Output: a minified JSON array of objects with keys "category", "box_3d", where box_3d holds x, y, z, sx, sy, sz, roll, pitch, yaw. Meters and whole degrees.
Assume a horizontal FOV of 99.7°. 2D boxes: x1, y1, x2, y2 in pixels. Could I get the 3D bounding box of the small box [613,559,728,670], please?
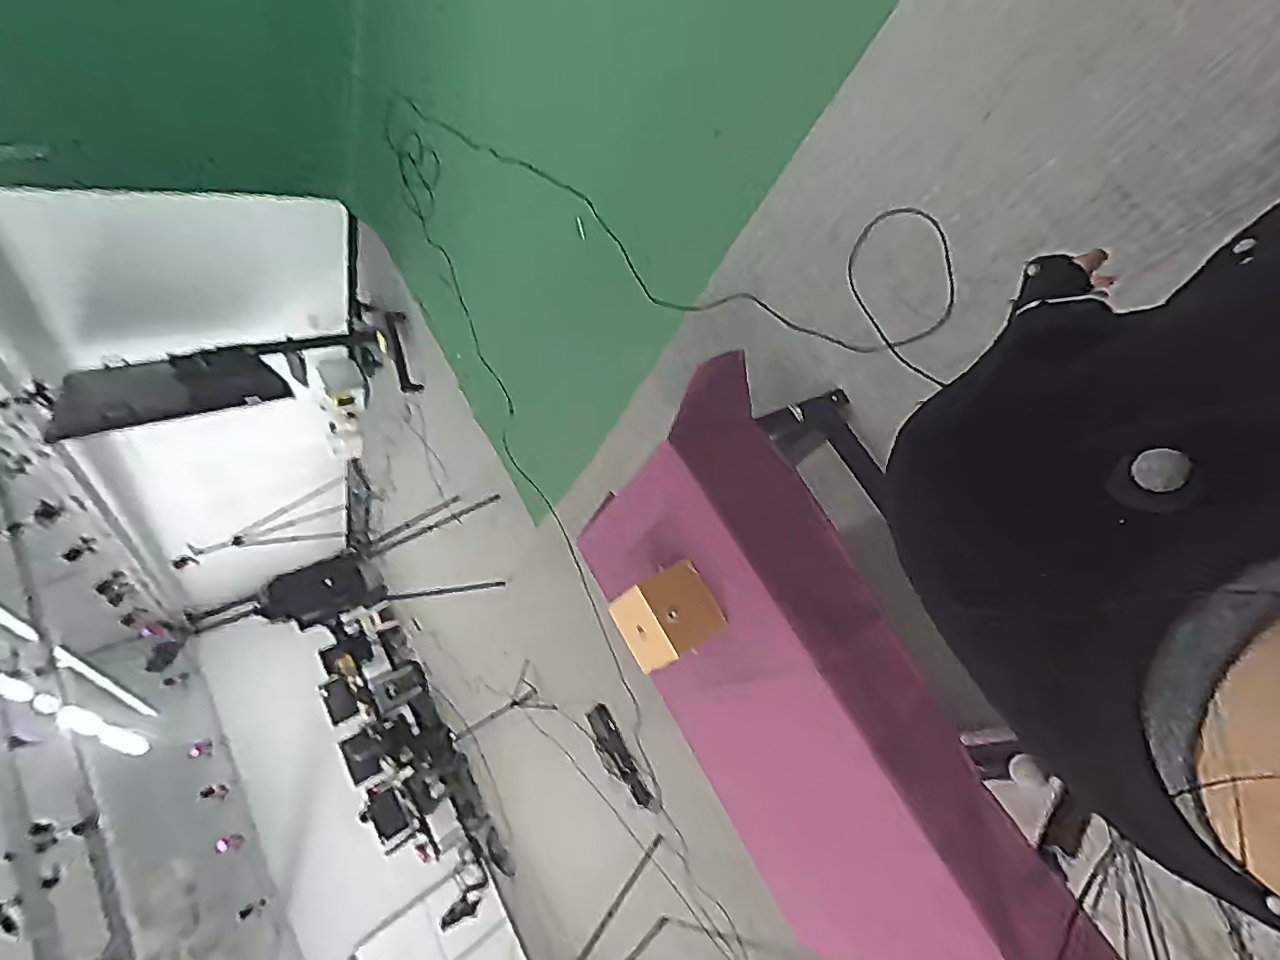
[{"category":"small box","box_3d":[0.073,0.310,1.258,0.179,0.176,0.168,60,142,14]}]
